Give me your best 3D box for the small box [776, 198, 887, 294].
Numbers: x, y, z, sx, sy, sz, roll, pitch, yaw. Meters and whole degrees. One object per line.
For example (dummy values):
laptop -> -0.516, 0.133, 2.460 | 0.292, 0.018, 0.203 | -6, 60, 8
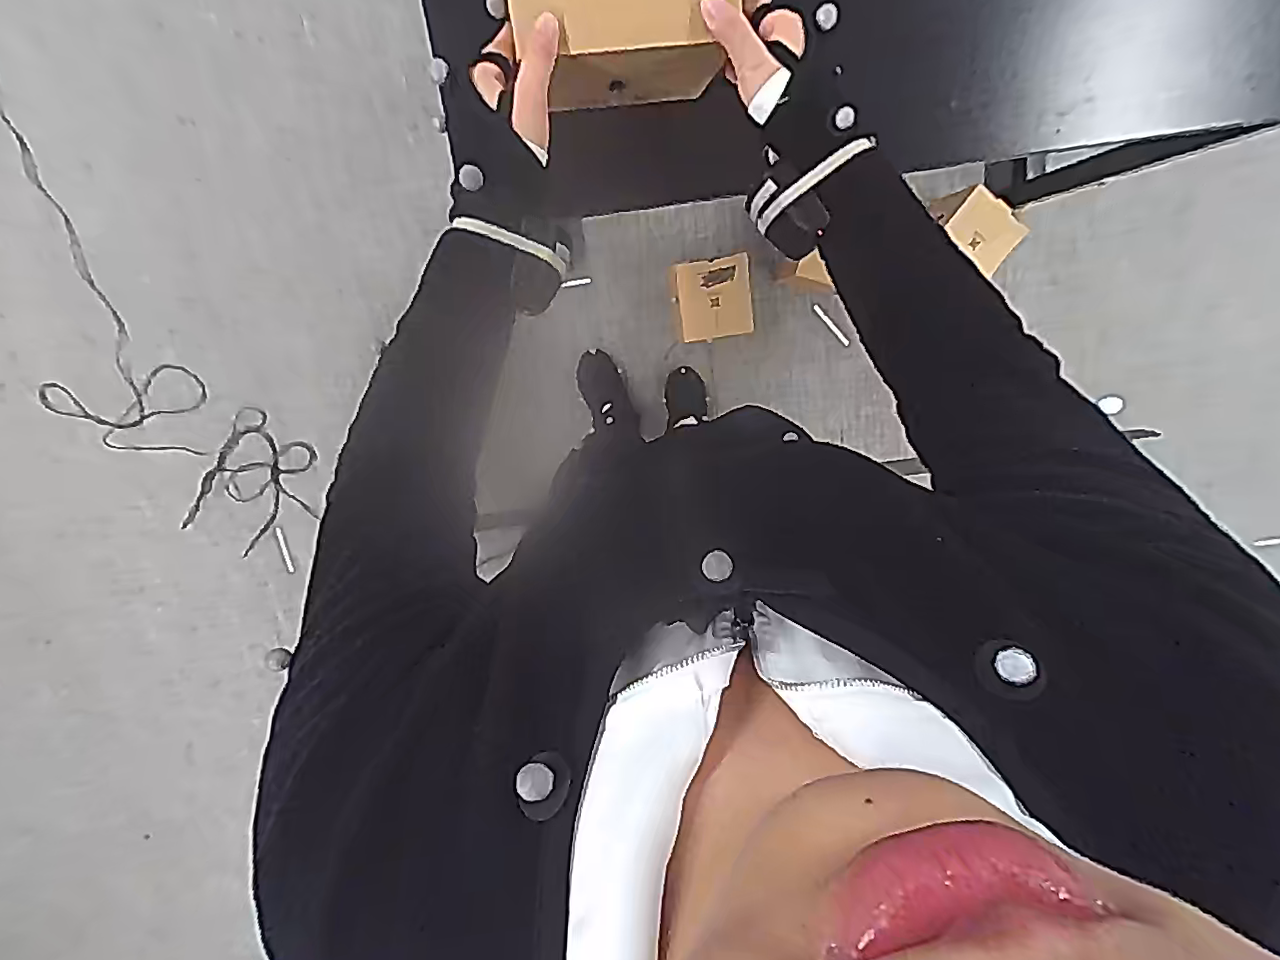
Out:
small box -> 0.447, -0.549, 1.293 | 0.179, 0.176, 0.168 | 12, 104, -4

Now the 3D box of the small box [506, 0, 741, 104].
small box -> -0.022, -0.415, 0.423 | 0.168, 0.176, 0.179 | -8, 114, -3

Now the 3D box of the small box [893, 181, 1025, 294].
small box -> 0.750, -0.568, 1.294 | 0.168, 0.176, 0.179 | 34, 102, -10

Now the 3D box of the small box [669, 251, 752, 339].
small box -> 0.166, -0.444, 1.312 | 0.168, 0.176, 0.179 | -9, 107, 1
